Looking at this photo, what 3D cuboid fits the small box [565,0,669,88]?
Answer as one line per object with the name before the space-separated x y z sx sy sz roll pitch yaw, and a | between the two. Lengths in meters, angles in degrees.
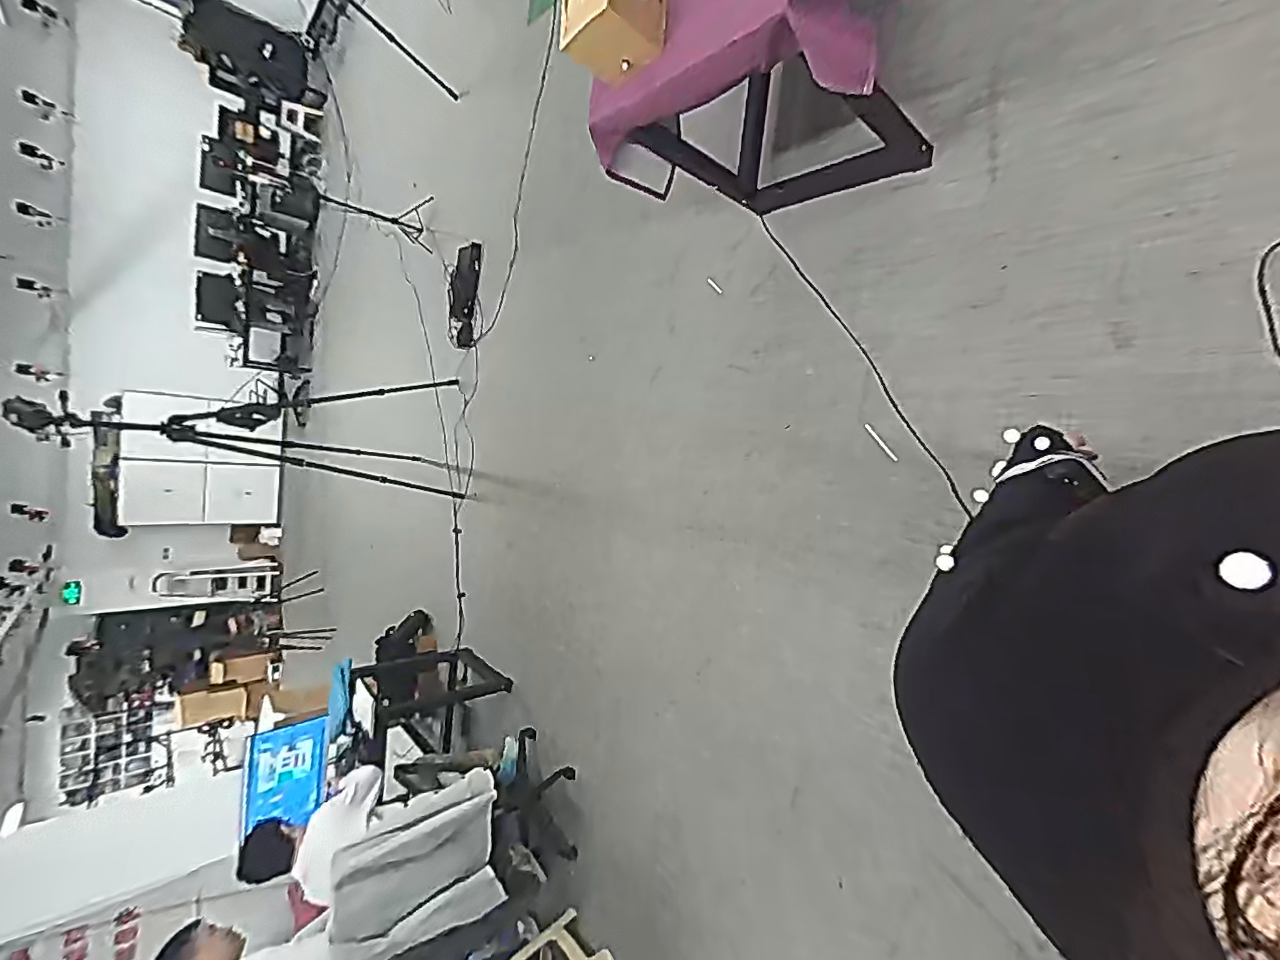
small box | -0.049 -1.045 1.224 0.179 0.176 0.168 4 90 47
